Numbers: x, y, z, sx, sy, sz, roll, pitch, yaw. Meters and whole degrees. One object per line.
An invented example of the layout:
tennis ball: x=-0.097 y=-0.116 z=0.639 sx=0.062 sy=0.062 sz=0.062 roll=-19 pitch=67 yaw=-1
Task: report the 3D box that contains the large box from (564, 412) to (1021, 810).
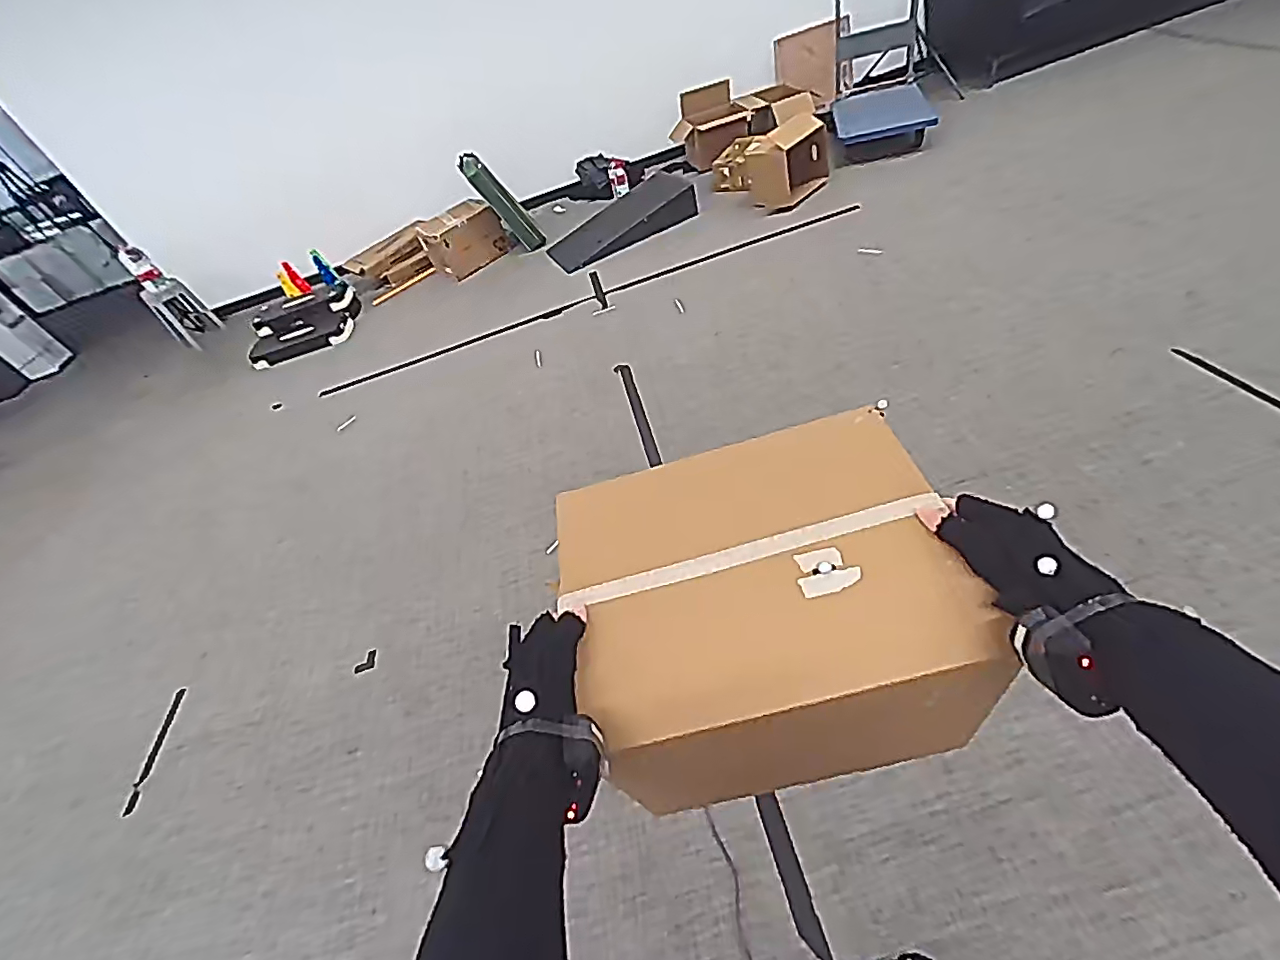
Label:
large box: x=0.150 y=0.175 z=0.685 sx=0.408 sy=0.320 sz=0.320 roll=-16 pitch=48 yaw=4
